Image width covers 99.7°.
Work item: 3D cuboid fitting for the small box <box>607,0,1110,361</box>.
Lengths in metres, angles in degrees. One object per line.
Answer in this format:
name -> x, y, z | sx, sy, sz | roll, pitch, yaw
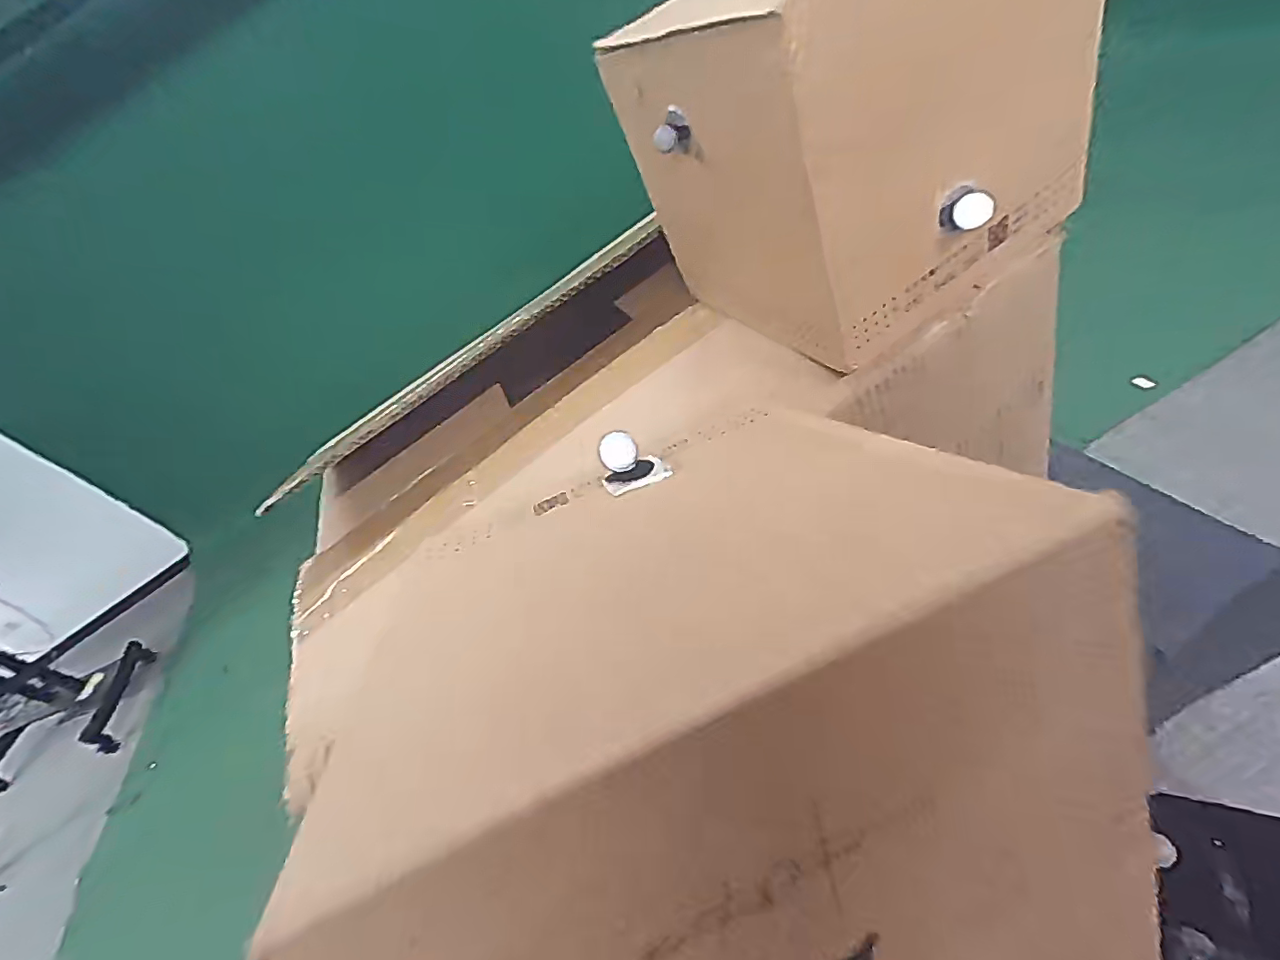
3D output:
small box -> 0.112, -0.196, 0.307 | 0.168, 0.176, 0.179 | -36, 42, -2
